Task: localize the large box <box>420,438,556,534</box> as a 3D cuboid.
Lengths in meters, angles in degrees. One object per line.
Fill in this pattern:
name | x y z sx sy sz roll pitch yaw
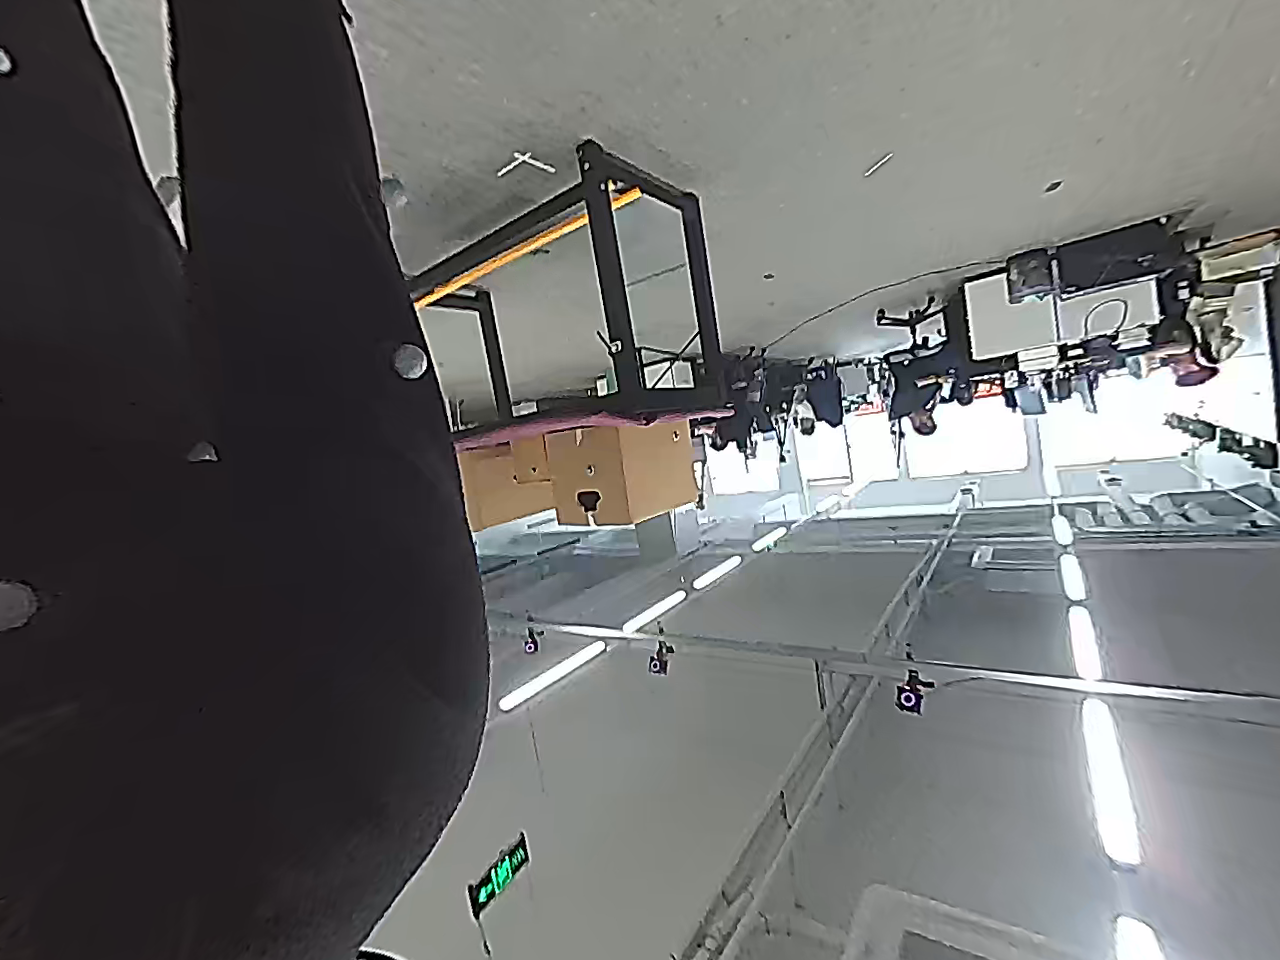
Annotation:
large box | -0.622 0.018 2.227 0.320 0.320 0.408 -6 -173 36
